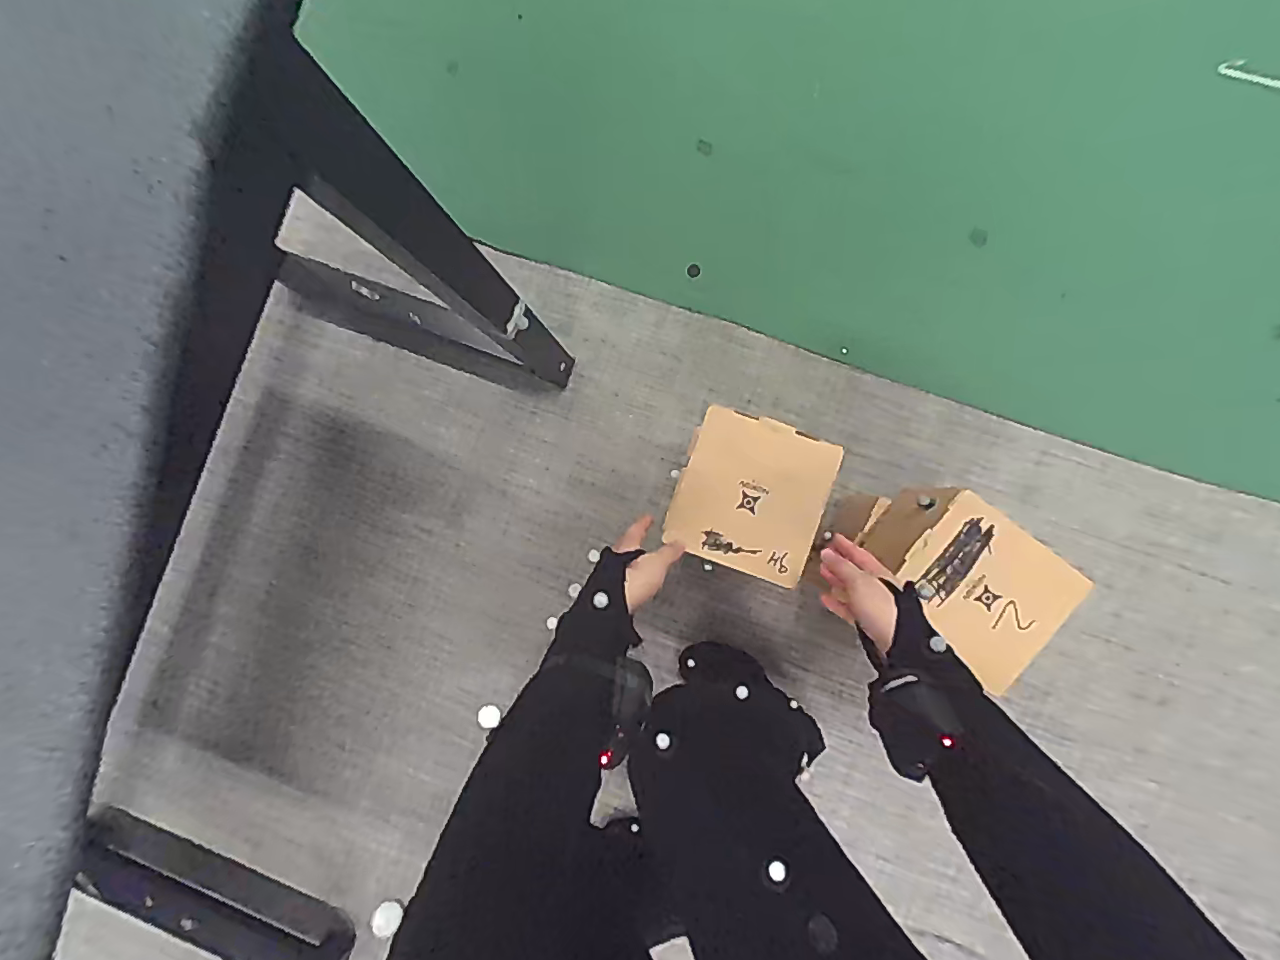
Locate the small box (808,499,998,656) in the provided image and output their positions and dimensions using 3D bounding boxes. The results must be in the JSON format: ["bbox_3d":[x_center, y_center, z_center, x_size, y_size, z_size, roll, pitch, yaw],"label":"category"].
[{"bbox_3d":[0.391,0.136,0.838,0.179,0.176,0.168,29,92,4],"label":"small box"}]

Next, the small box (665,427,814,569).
[{"bbox_3d":[0.151,0.026,0.863,0.179,0.176,0.168,19,90,6],"label":"small box"}]
